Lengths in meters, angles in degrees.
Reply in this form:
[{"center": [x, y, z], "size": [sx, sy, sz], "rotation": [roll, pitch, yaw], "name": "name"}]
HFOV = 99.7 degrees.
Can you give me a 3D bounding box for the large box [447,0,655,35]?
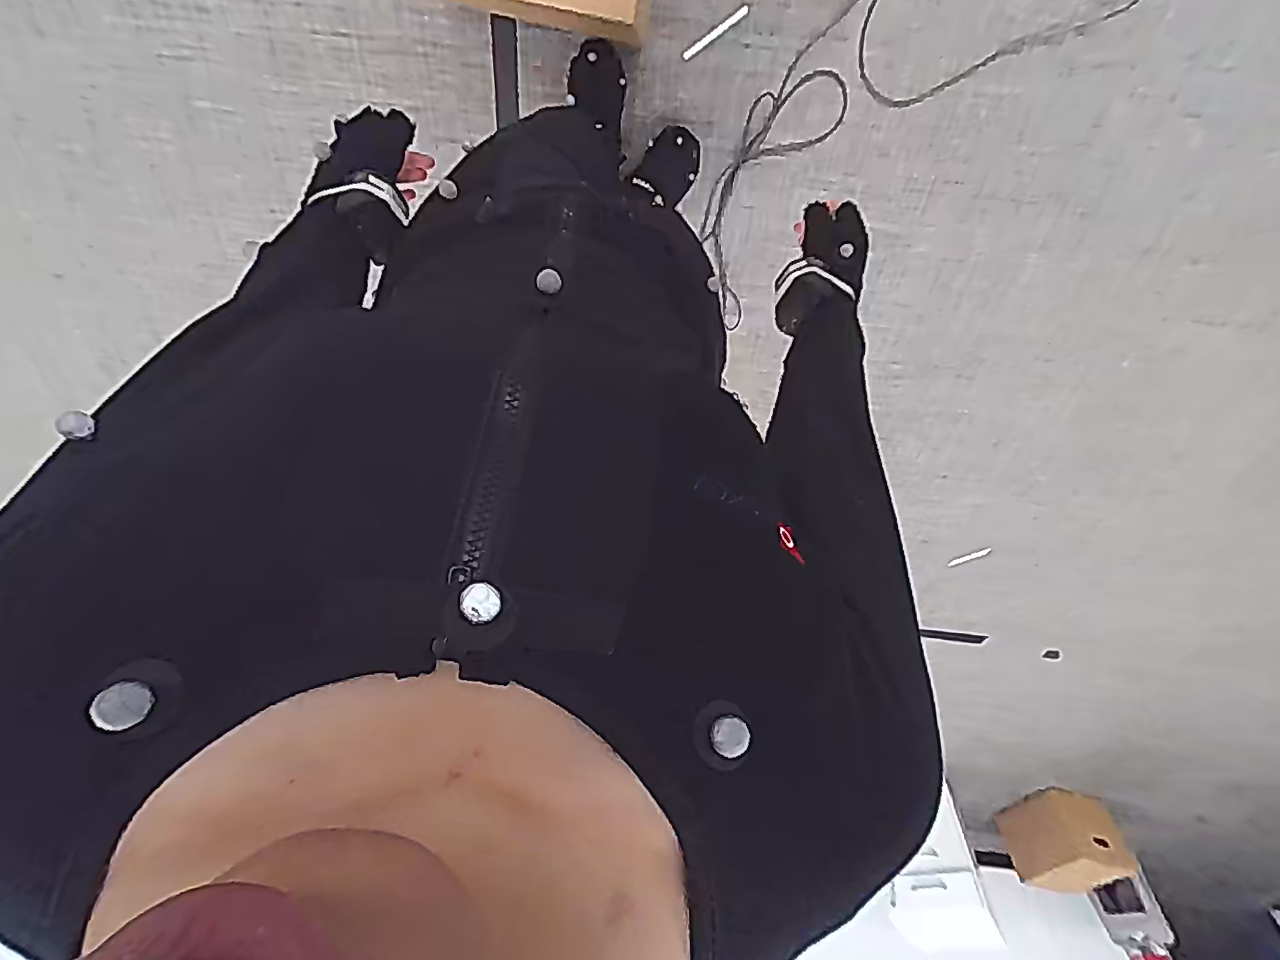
[{"center": [-0.163, -0.938, 0.842], "size": [0.408, 0.320, 0.320], "rotation": [9, 125, -2], "name": "large box"}]
